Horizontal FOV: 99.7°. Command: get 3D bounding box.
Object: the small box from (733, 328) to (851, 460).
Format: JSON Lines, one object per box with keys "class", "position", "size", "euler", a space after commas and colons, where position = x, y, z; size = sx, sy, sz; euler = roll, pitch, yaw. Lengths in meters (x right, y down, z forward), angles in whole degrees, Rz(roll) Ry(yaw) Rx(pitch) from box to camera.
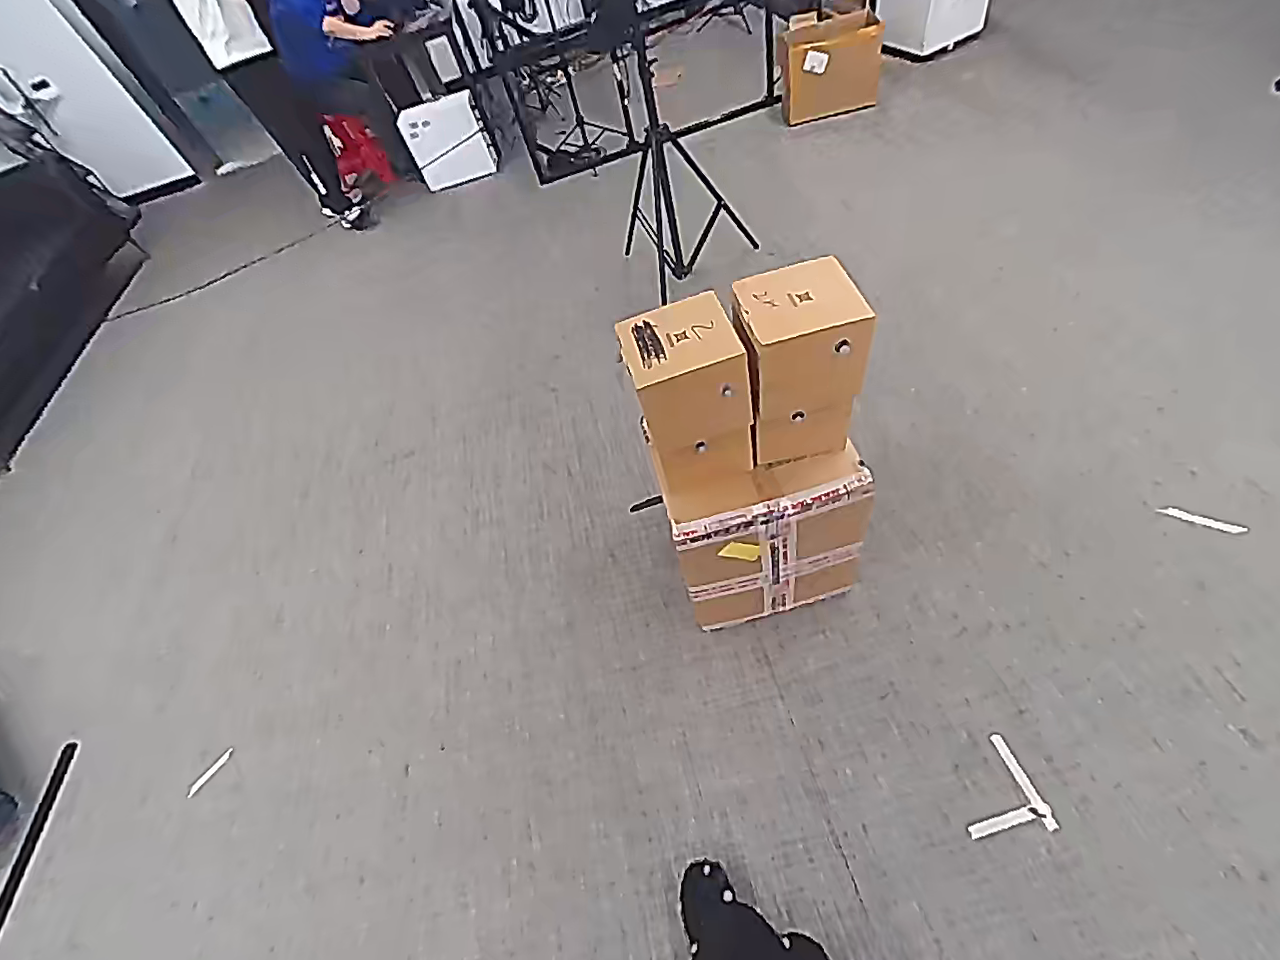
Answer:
{"class": "small box", "position": [0.286, -0.159, 1.040], "size": [0.179, 0.176, 0.168], "euler": [-12, 54, 5]}
